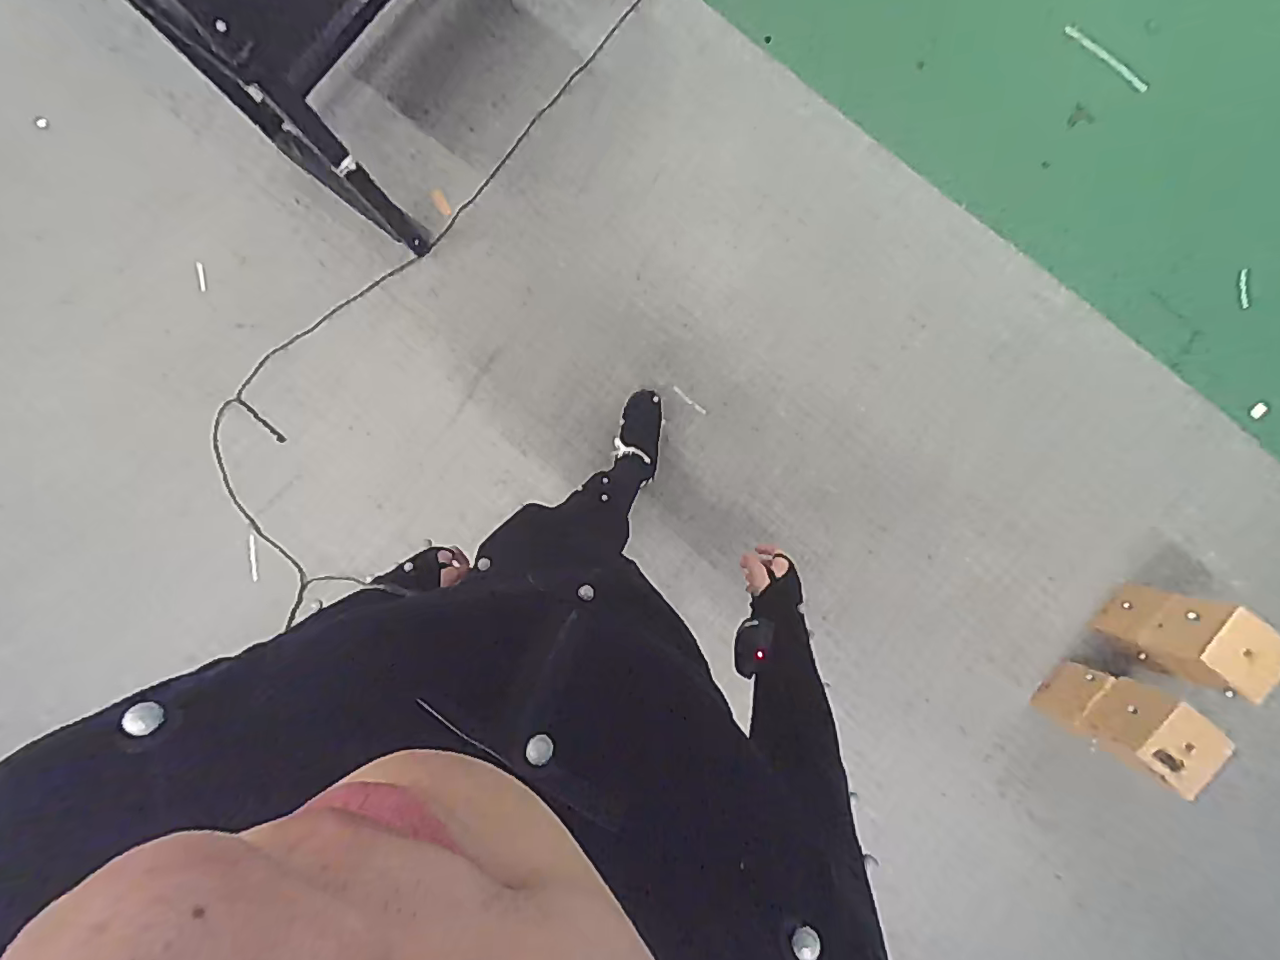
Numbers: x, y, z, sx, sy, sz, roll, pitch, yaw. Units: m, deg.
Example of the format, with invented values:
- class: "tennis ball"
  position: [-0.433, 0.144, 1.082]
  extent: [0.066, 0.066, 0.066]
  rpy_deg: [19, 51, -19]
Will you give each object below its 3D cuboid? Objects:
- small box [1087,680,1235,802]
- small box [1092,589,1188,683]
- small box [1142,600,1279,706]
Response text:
- class: "small box"
  position: [1.265, 0.633, 1.333]
  extent: [0.168, 0.176, 0.179]
  rpy_deg: [43, 88, 1]
- class: "small box"
  position: [1.432, 0.423, 1.505]
  extent: [0.179, 0.176, 0.168]
  rpy_deg: [42, 90, 2]
- class: "small box"
  position: [1.428, 0.417, 1.343]
  extent: [0.179, 0.176, 0.168]
  rpy_deg: [39, 88, 2]
